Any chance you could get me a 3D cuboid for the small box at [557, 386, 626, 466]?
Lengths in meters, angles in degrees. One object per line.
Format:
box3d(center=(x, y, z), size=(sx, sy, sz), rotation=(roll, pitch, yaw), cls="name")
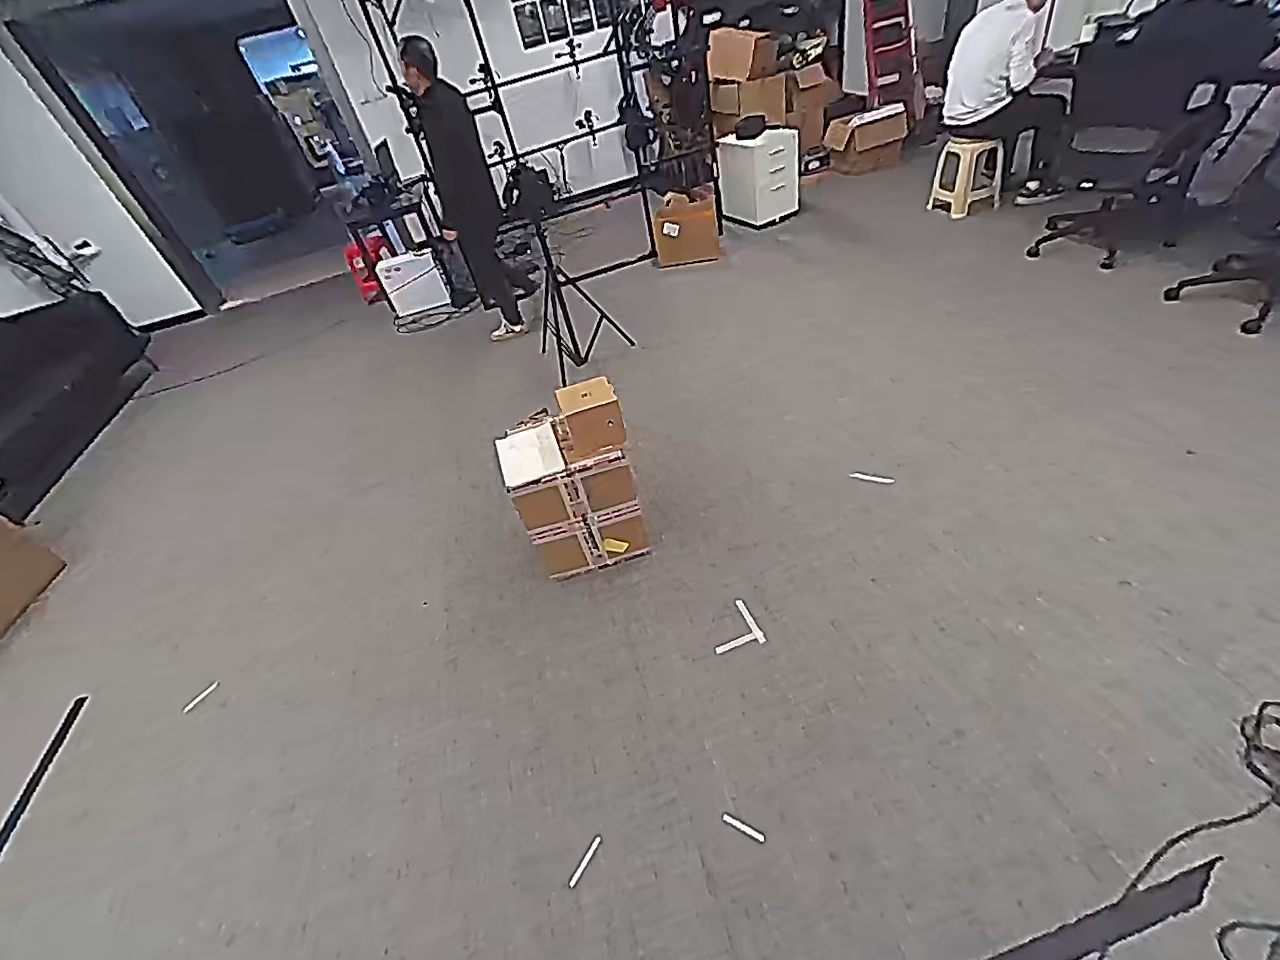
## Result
box3d(center=(-0.154, -0.174, 1.764), size=(0.179, 0.176, 0.168), rotation=(-20, 41, -7), cls="small box")
